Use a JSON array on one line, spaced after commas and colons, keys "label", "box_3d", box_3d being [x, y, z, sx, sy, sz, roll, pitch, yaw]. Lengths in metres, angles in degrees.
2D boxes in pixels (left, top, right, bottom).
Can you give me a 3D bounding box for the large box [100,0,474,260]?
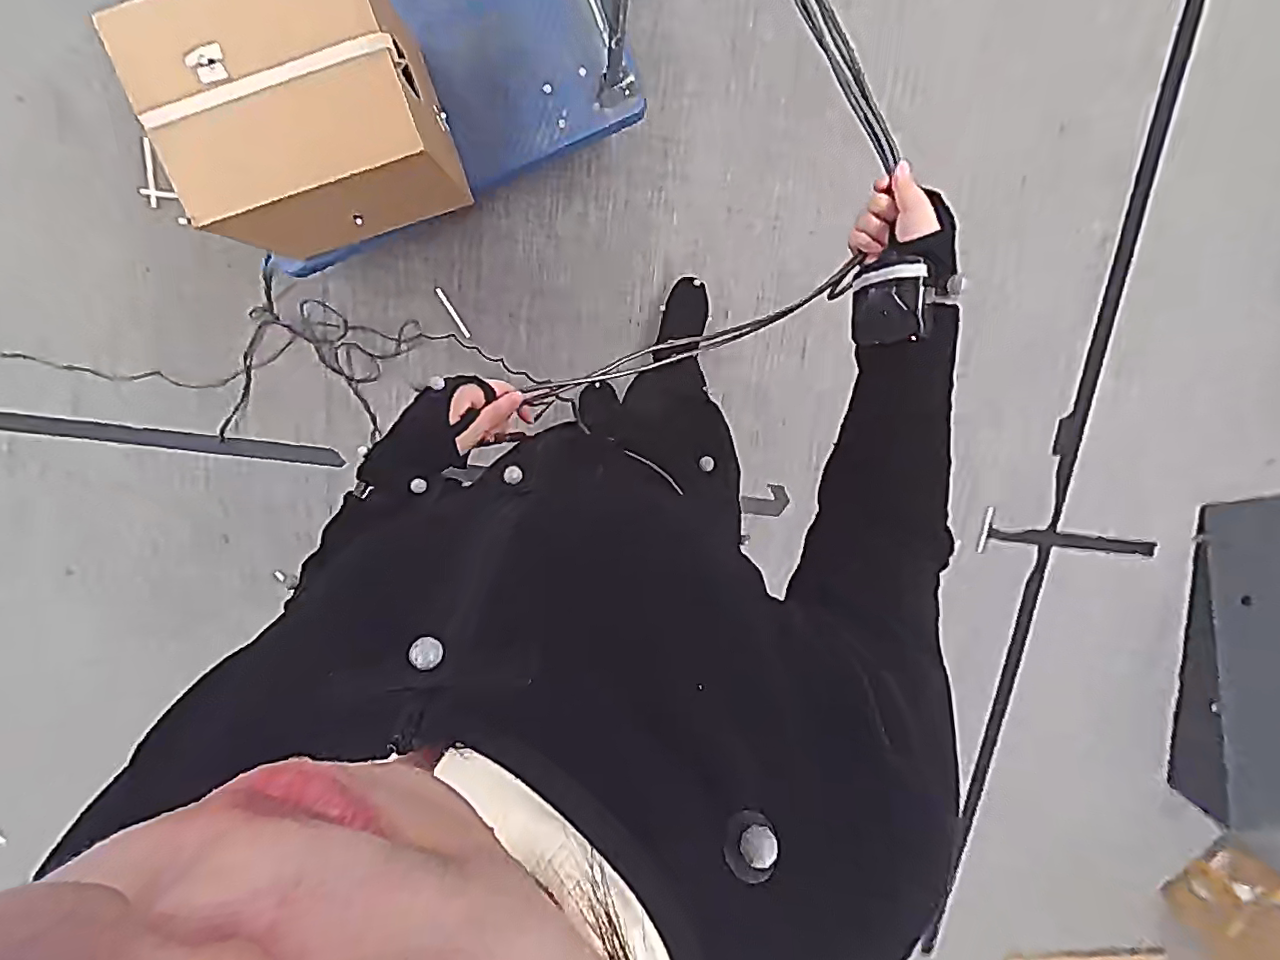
[{"label": "large box", "box_3d": [-0.578, -0.636, 0.976, 0.408, 0.320, 0.320, -18, 102, 2]}]
